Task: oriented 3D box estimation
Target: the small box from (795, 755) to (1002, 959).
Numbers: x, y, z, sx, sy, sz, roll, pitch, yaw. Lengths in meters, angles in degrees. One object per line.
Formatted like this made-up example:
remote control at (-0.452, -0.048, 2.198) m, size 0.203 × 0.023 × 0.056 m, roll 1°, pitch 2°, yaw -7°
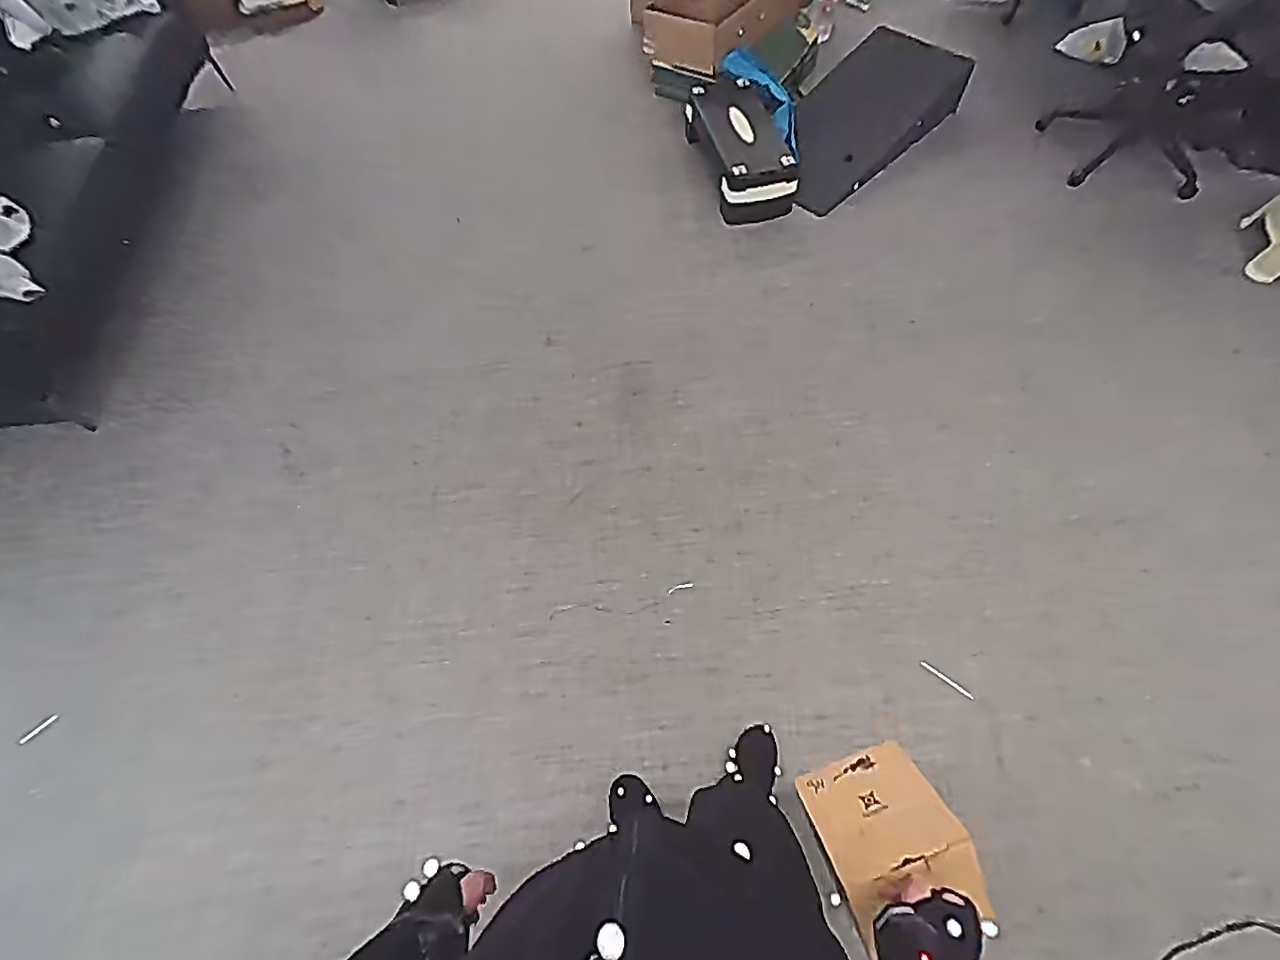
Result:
small box at (0.344, 0.529, 0.735) m, size 0.168 × 0.179 × 0.176 m, roll -24°, pitch 100°, yaw -2°
